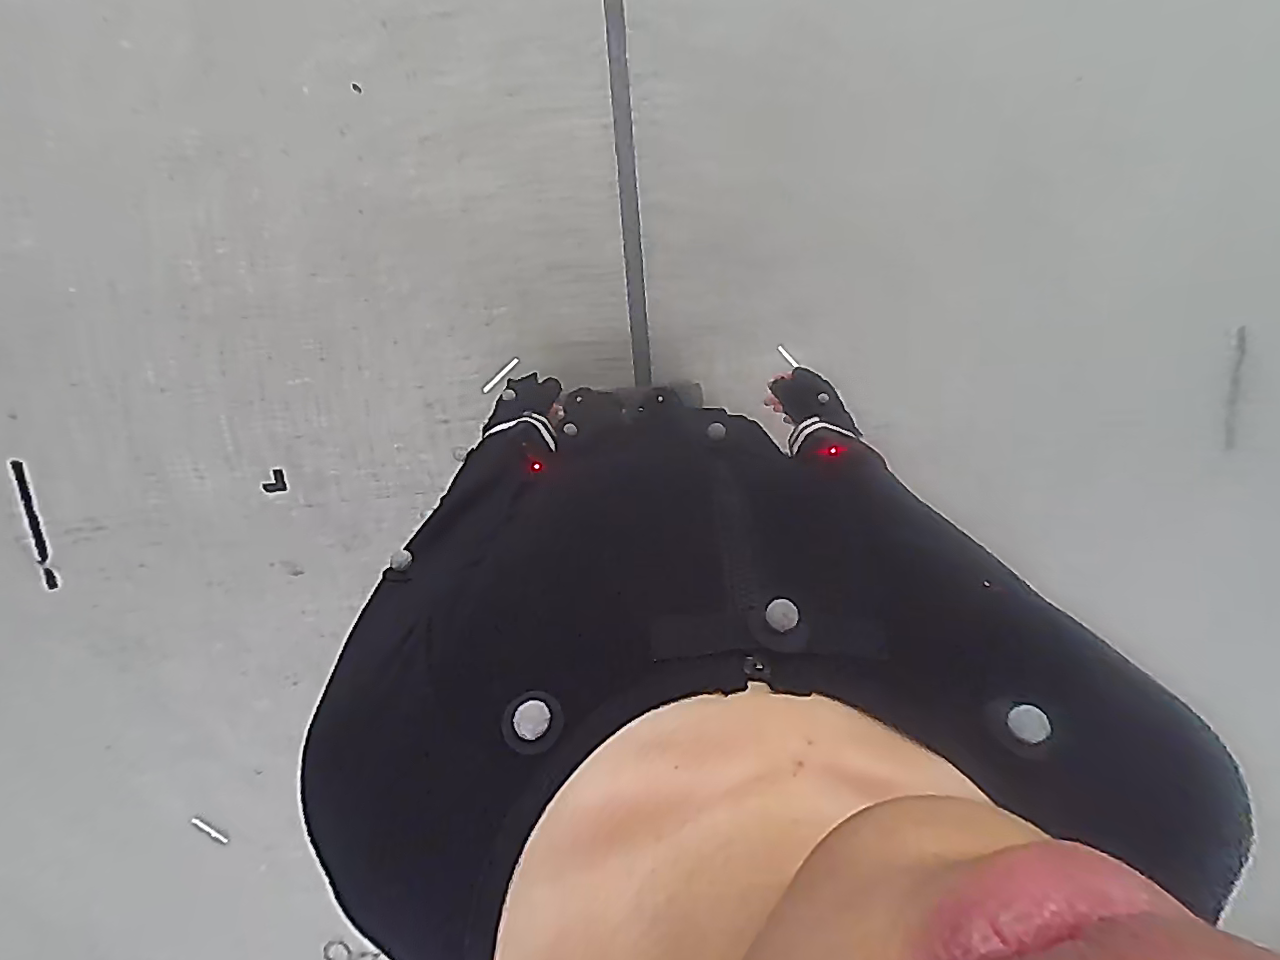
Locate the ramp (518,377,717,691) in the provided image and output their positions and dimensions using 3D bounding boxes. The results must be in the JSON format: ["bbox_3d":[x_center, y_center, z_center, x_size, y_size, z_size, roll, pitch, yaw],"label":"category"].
[{"bbox_3d":[-0.030,0.211,1.613,0.509,0.206,0.991,-8,102,-2],"label":"ramp"}]
